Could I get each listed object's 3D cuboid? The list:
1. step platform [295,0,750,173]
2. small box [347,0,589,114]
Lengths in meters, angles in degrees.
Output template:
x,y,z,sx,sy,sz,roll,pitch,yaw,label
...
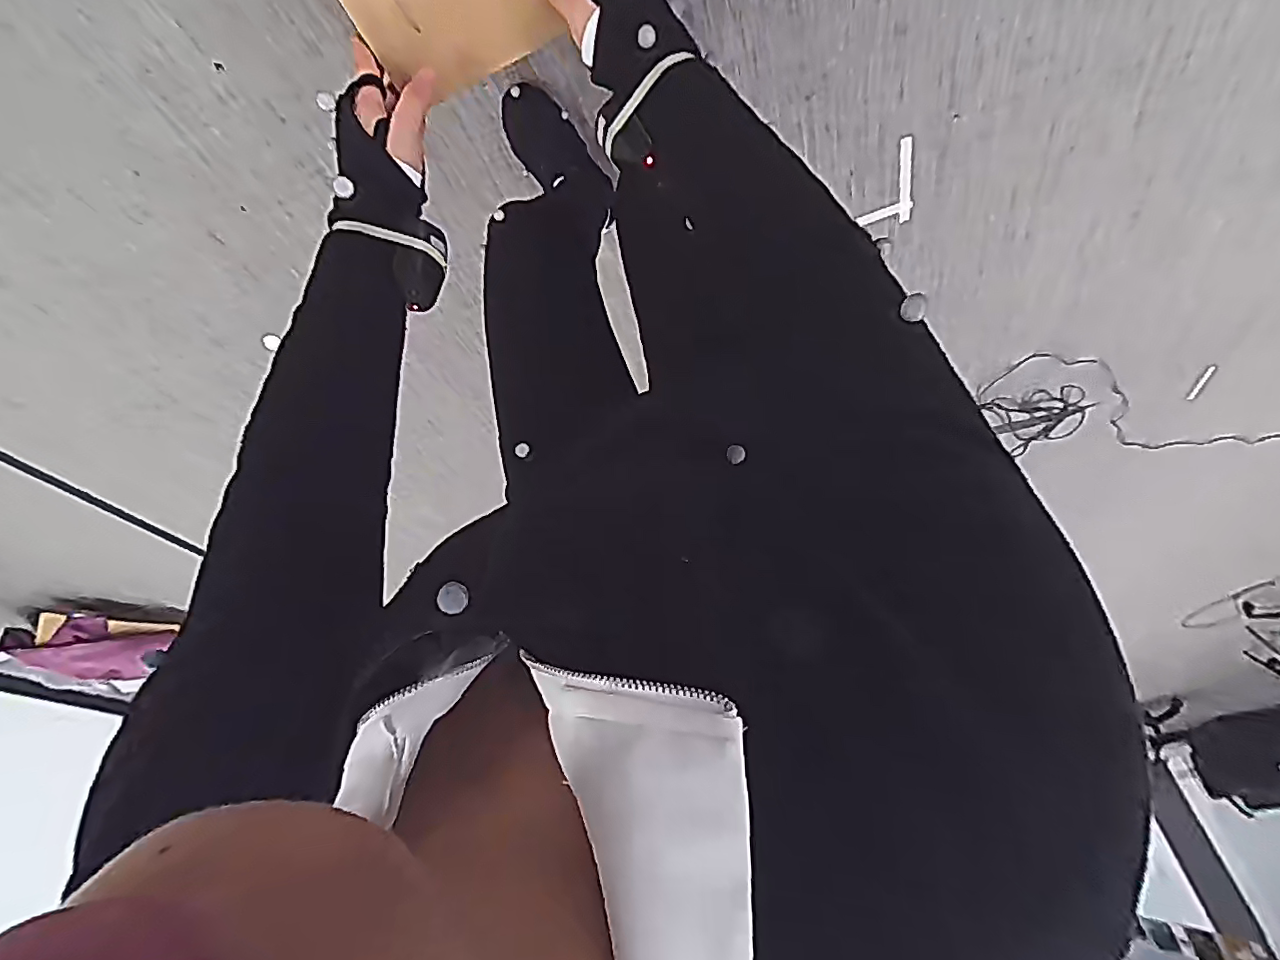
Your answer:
x,y,z,sx,sy,sz,roll,pitch,yaw,label
-0.004,-0.590,0.531,0.684,0.204,0.286,-15,141,13,step platform
-0.157,-0.468,0.465,0.179,0.176,0.168,-17,140,16,small box
